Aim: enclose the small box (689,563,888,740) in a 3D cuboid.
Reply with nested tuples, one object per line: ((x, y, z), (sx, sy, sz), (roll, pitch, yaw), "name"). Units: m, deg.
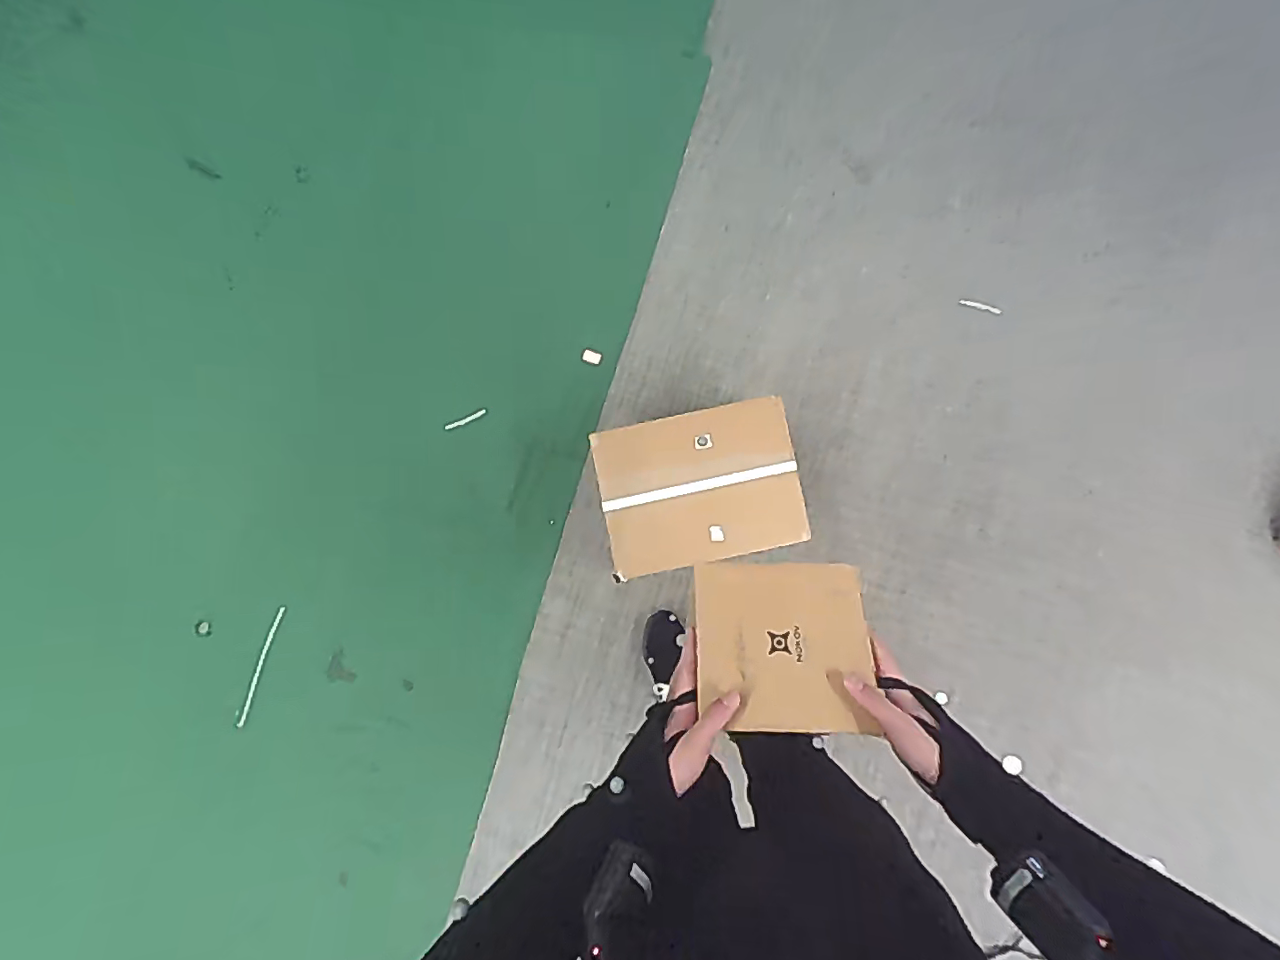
((0.147, 0.195, 0.603), (0.179, 0.176, 0.168), (0, 65, 3), "small box")
